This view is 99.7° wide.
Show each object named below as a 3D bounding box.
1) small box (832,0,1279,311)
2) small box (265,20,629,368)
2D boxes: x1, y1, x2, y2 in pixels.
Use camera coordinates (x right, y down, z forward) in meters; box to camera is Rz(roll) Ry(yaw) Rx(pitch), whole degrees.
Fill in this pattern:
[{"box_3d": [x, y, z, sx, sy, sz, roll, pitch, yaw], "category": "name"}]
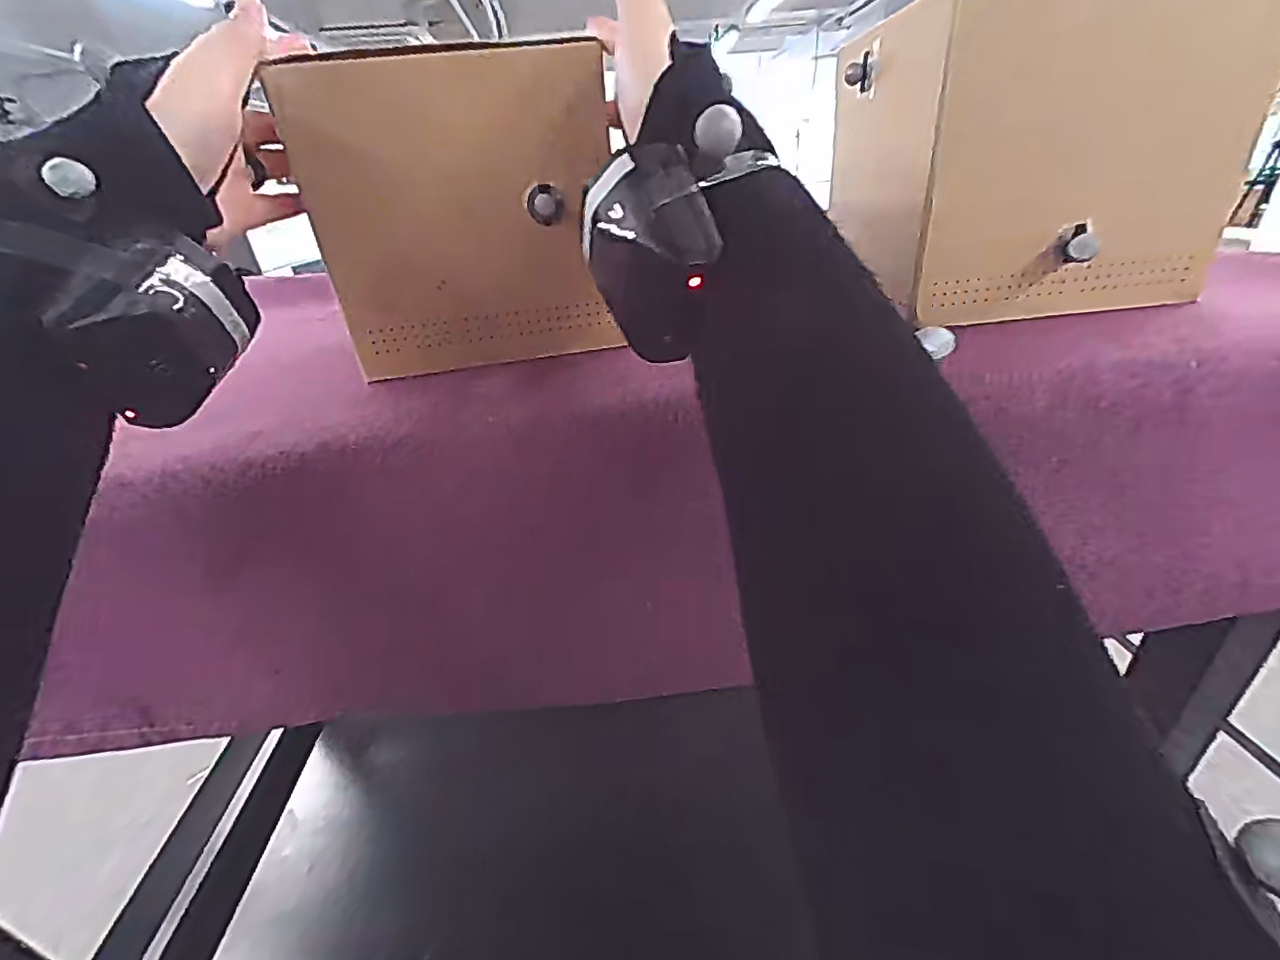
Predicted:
[{"box_3d": [0.242, -0.216, 0.353, 0.179, 0.176, 0.168, -5, 28, 2], "category": "small box"}, {"box_3d": [-0.106, -0.190, 0.381, 0.179, 0.176, 0.168, -10, 28, -6], "category": "small box"}]
